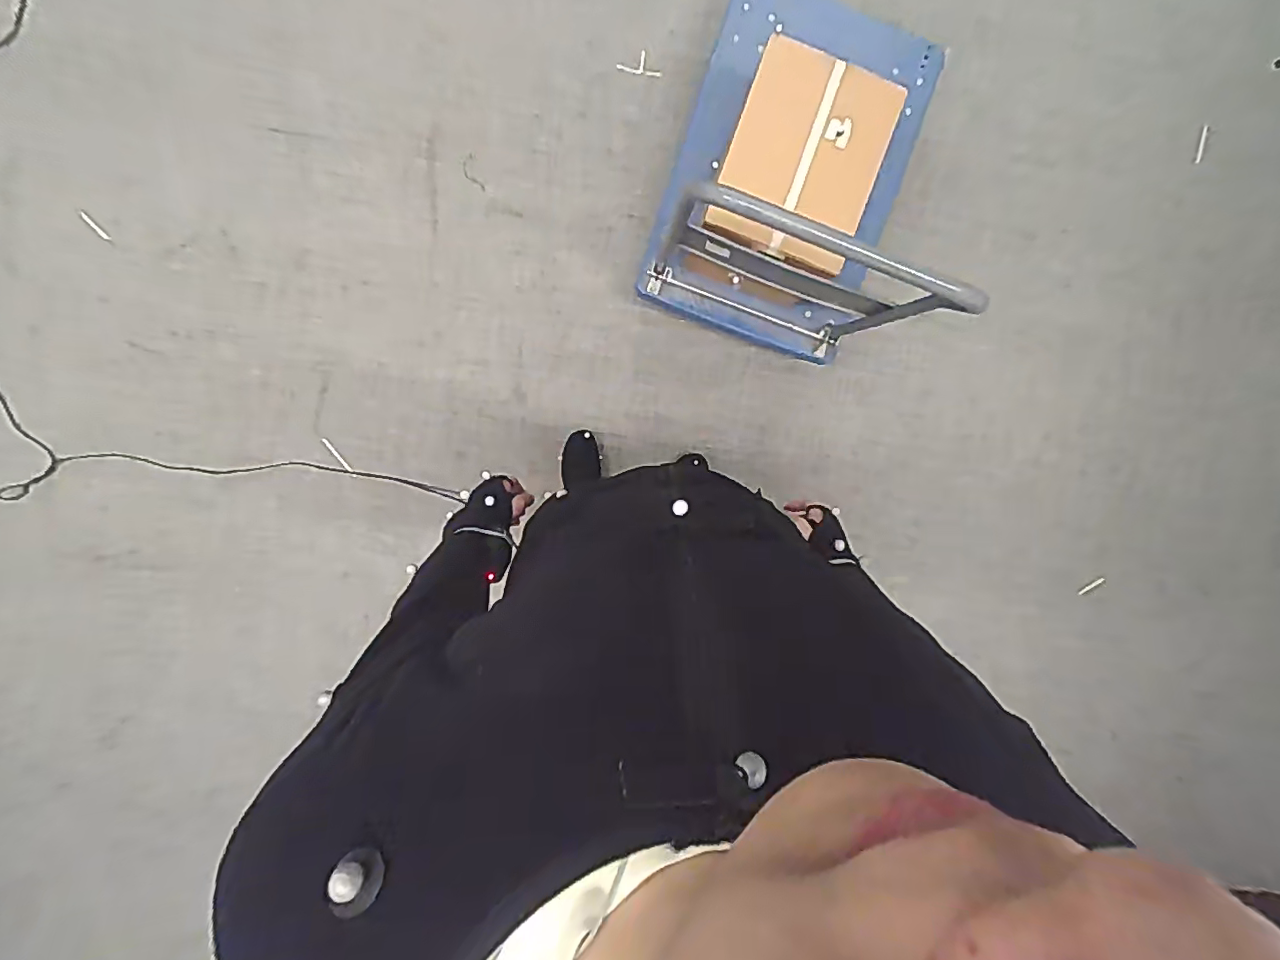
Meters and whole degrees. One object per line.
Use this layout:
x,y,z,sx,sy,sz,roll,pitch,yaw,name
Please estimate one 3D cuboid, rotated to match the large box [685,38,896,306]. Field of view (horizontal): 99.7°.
0.325,-0.684,1.277,0.320,0.320,0.408,19,92,-6,large box
